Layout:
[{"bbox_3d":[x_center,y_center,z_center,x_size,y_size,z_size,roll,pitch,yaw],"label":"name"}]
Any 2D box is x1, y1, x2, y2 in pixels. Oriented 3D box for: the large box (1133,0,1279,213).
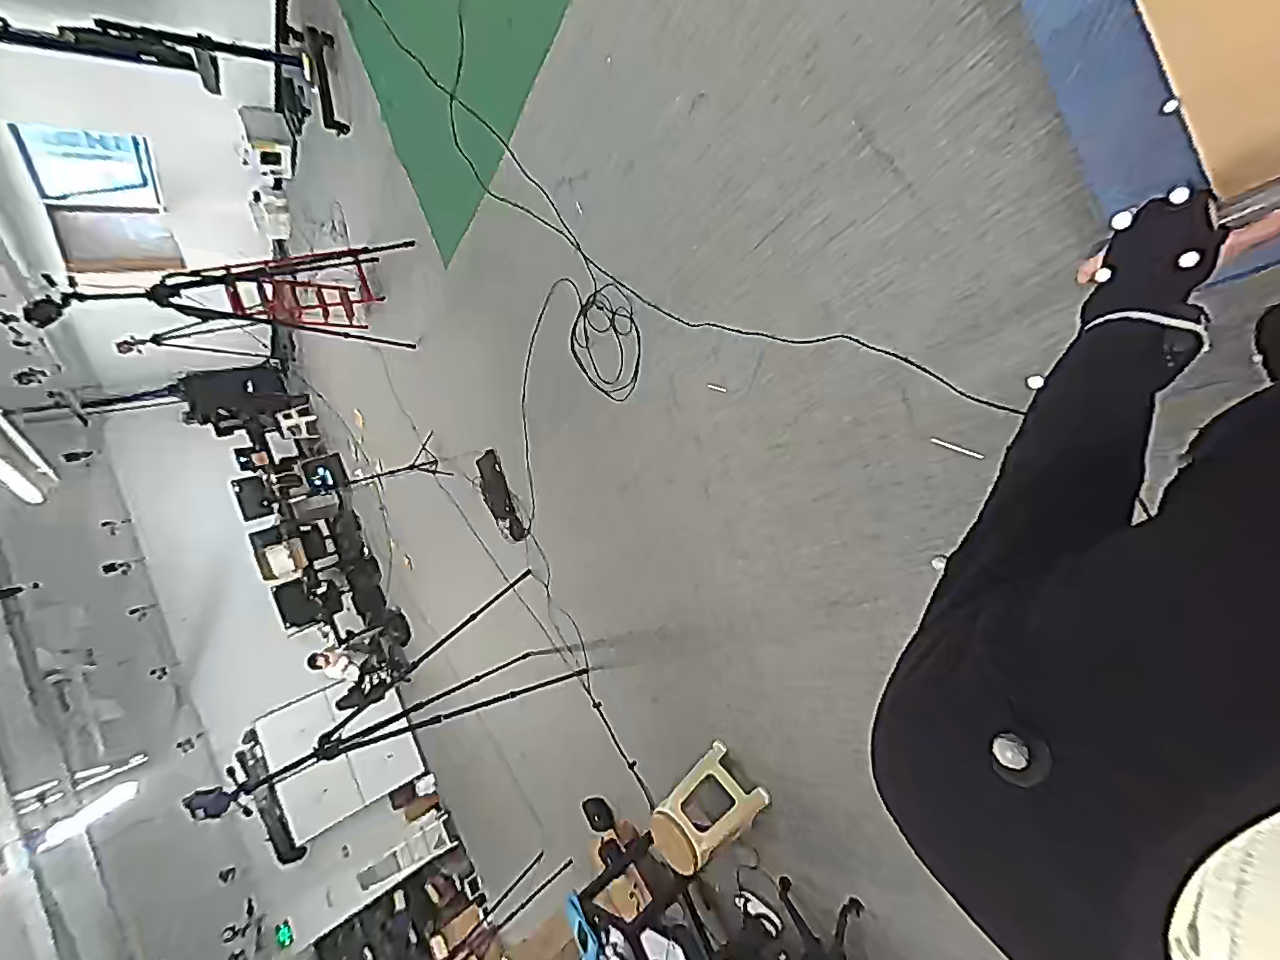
[{"bbox_3d":[0.949,-0.645,0.740,0.320,0.320,0.408,-22,88,51],"label":"large box"}]
